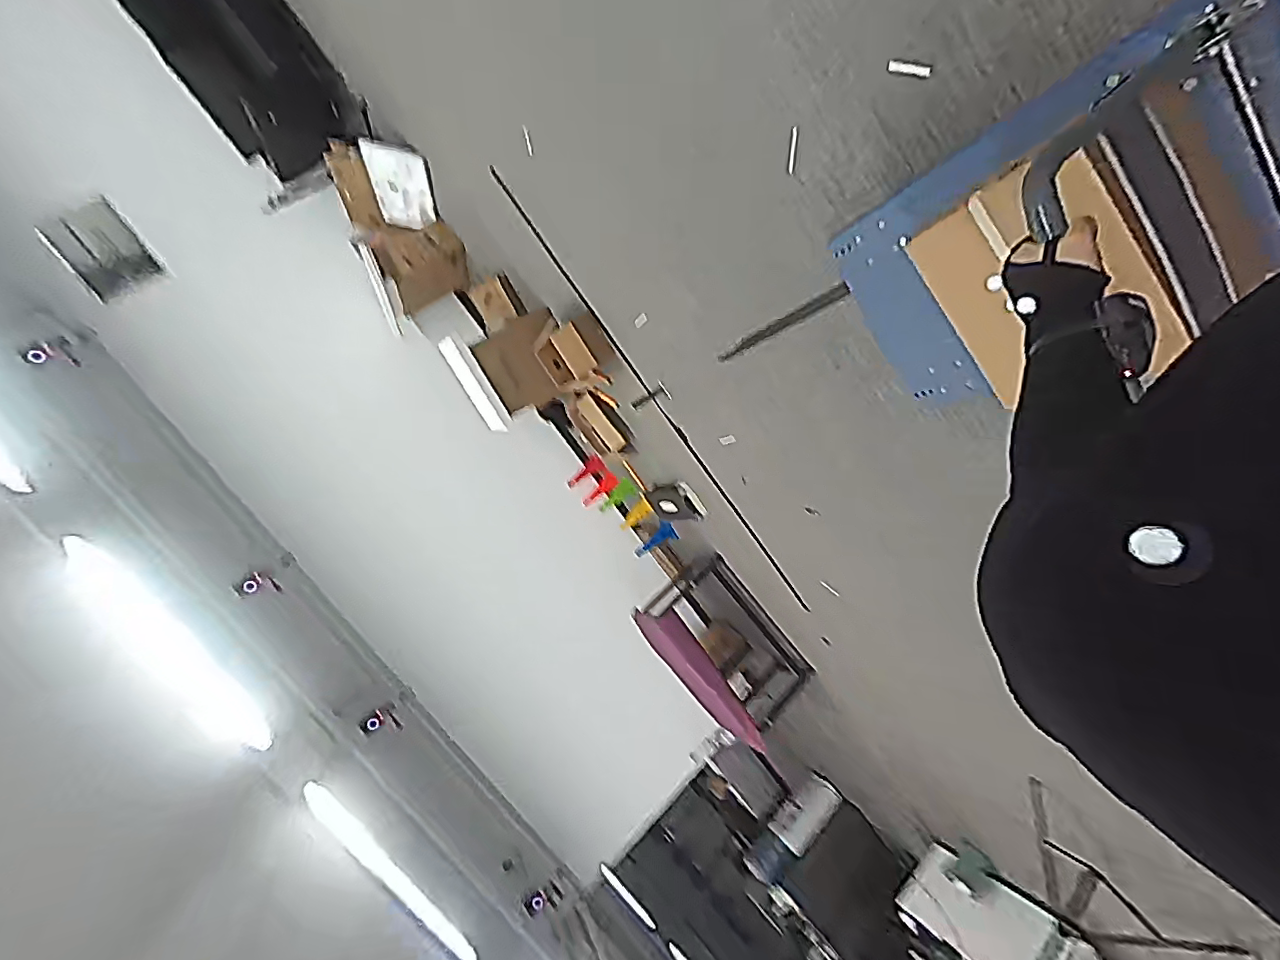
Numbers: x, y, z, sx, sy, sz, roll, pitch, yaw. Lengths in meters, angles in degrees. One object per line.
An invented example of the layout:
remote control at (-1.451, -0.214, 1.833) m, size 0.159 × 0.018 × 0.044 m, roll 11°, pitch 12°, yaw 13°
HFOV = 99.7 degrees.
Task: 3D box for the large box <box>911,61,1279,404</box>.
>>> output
large box at (0.800, -0.412, 0.973) m, size 0.408 × 0.320 × 0.320 m, roll 54°, pitch 160°, yaw -7°
